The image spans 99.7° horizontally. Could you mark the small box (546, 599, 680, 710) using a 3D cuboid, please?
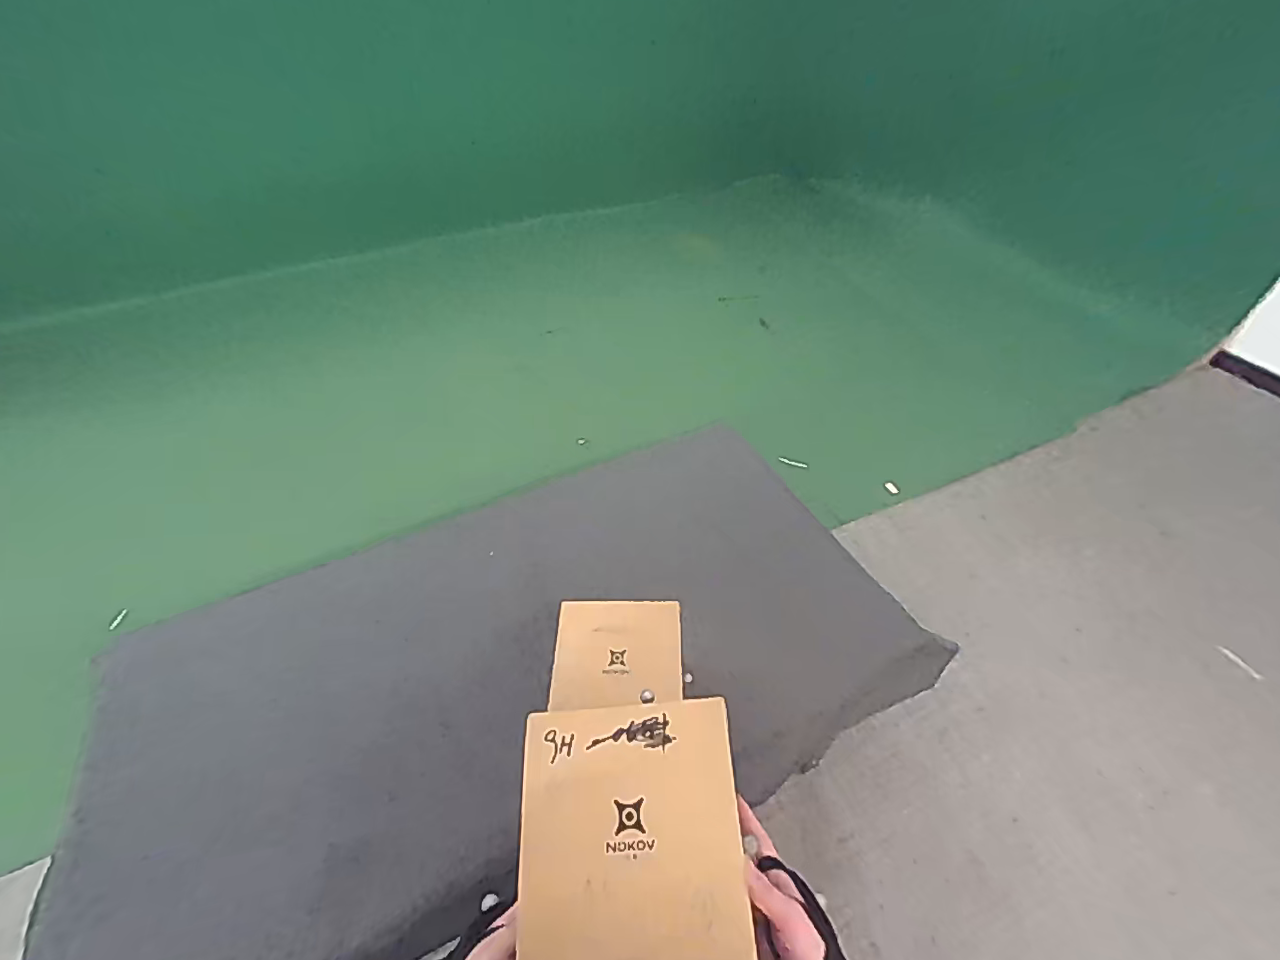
[{"bbox_3d":[-0.029,0.284,0.749,0.168,0.176,0.179,0,46,0],"label":"small box"}]

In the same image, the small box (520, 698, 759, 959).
[{"bbox_3d":[0.003,0.297,0.466,0.168,0.176,0.179,-6,59,3],"label":"small box"}]
